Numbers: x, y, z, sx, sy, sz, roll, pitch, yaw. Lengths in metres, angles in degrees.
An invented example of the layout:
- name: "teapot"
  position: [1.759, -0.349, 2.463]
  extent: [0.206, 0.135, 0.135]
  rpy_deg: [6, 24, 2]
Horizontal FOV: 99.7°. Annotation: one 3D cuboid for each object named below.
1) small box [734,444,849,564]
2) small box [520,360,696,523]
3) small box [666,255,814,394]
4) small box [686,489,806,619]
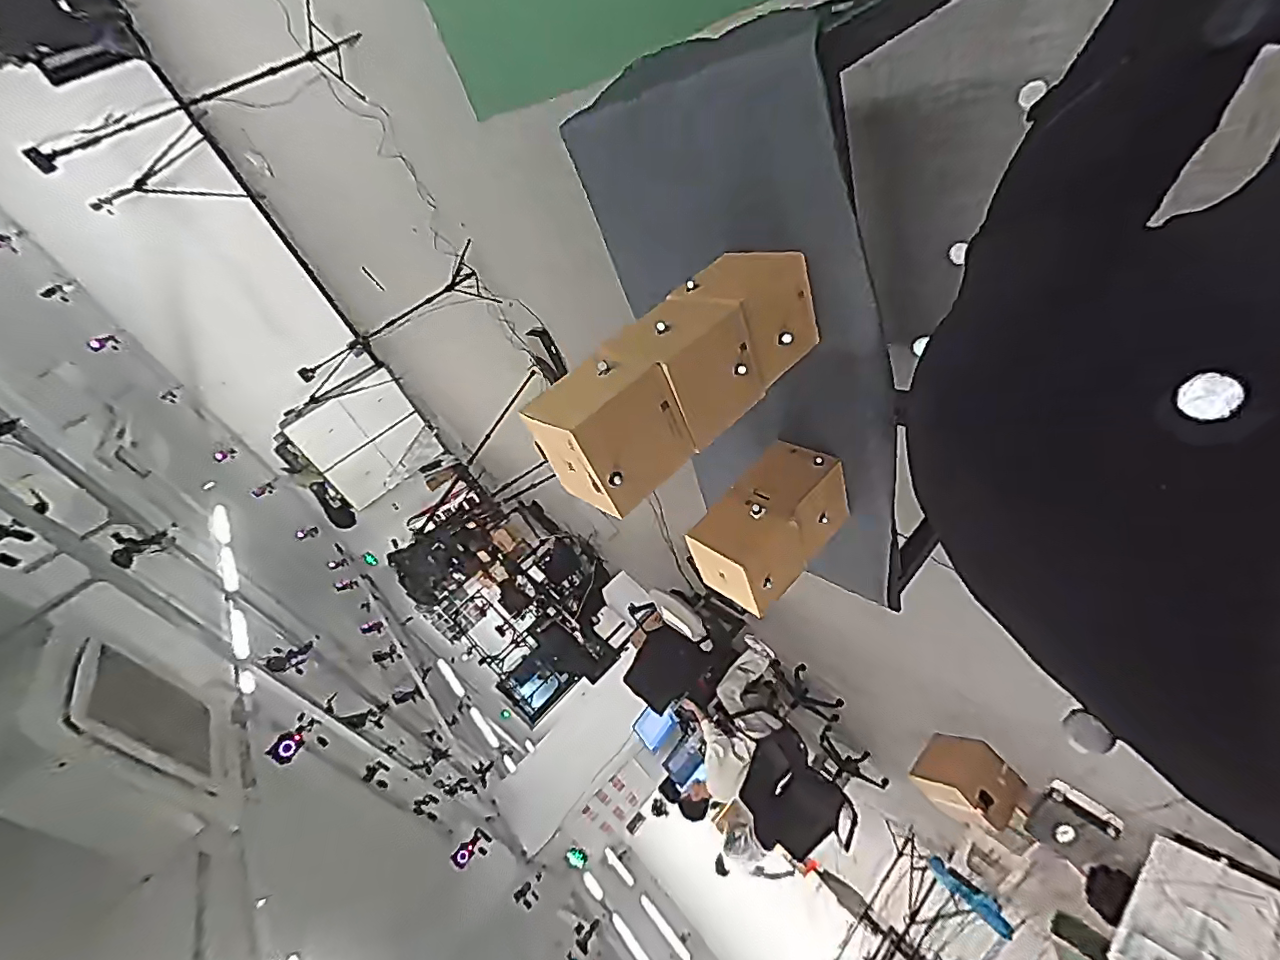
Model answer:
- name: "small box"
  position: [0.342, 0.046, 1.204]
  extent: [0.168, 0.176, 0.179]
  rpy_deg: [26, 151, 46]
- name: "small box"
  position: [-0.046, -0.068, 0.830]
  extent: [0.179, 0.176, 0.168]
  rpy_deg: [23, 149, 50]
- name: "small box"
  position: [0.182, -0.276, 0.941]
  extent: [0.179, 0.176, 0.168]
  rpy_deg: [26, 150, 47]
- name: "small box"
  position: [0.232, 0.151, 1.147]
  extent: [0.168, 0.176, 0.179]
  rpy_deg: [25, 149, 45]
